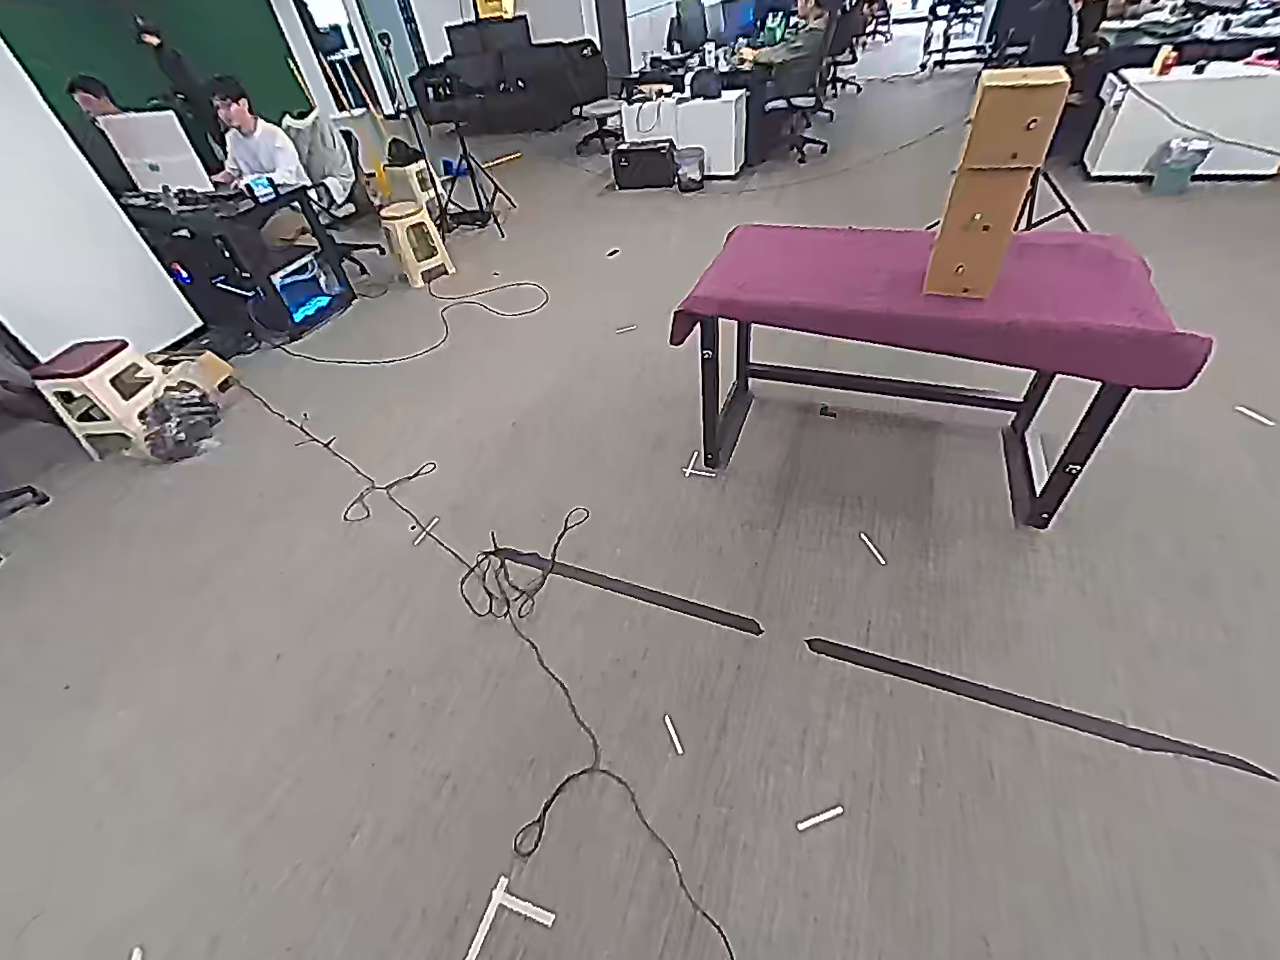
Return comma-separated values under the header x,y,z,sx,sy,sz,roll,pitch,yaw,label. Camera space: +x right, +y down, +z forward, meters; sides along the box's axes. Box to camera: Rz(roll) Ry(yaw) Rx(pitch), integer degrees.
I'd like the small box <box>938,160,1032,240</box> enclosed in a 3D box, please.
x,y,z,sx,sy,sz,roll,pitch,yaw,label
0.892,-0.746,1.410,0.168,0.176,0.179,13,48,21,small box

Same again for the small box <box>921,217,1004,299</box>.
x,y,z,sx,sy,sz,roll,pitch,yaw,label
0.905,-0.626,1.521,0.168,0.176,0.179,14,47,21,small box

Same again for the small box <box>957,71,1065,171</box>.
x,y,z,sx,sy,sz,roll,pitch,yaw,label
0.869,-0.848,1.283,0.168,0.176,0.179,12,46,19,small box
